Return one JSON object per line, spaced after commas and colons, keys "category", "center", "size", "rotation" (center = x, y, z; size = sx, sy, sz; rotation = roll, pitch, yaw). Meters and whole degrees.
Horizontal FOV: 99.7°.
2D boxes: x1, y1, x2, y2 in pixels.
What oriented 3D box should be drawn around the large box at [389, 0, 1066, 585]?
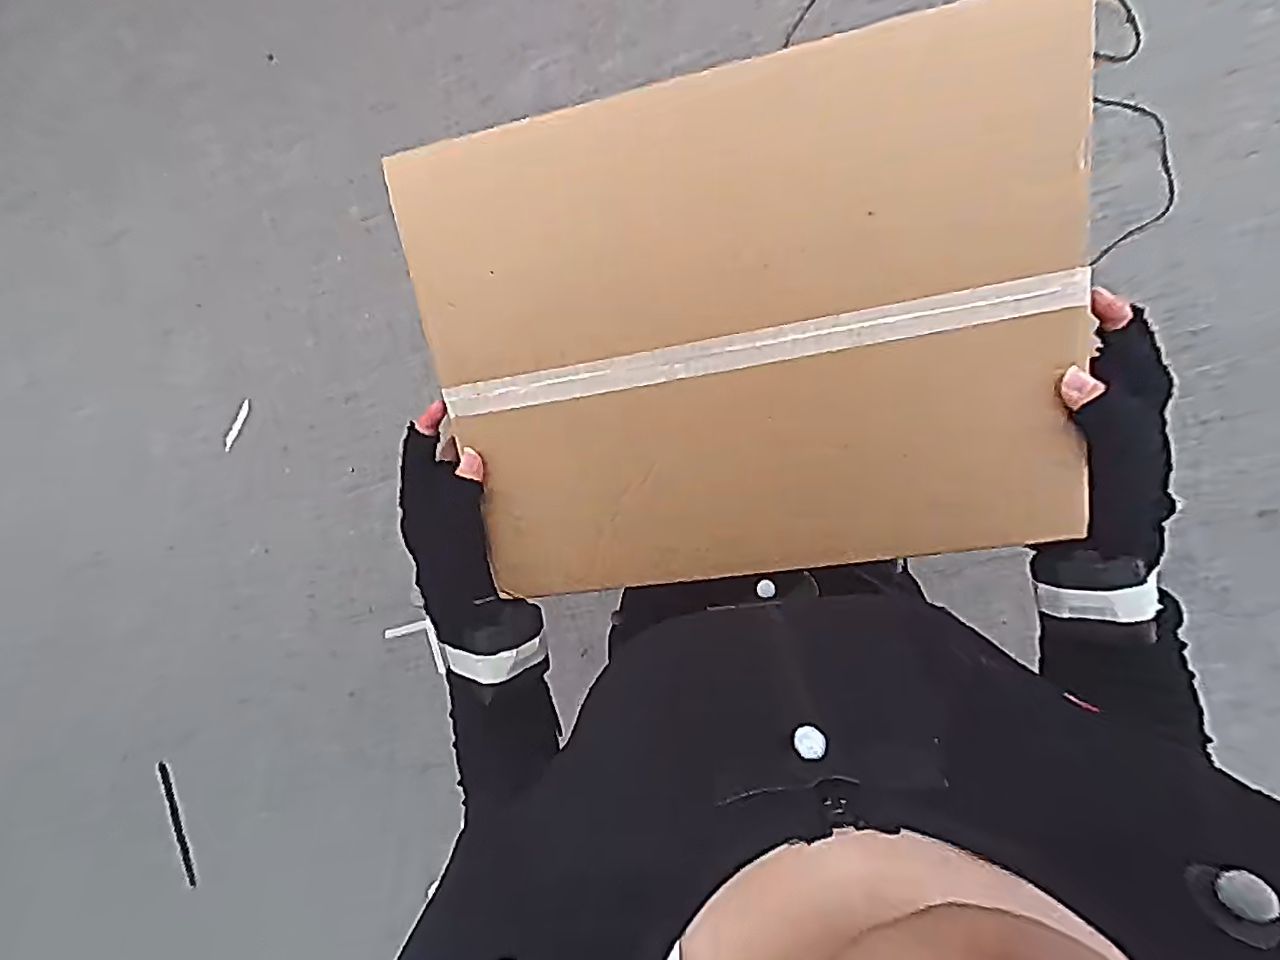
{"category": "large box", "center": [0.076, -0.133, 0.494], "size": [0.408, 0.320, 0.320], "rotation": [-8, 104, 10]}
